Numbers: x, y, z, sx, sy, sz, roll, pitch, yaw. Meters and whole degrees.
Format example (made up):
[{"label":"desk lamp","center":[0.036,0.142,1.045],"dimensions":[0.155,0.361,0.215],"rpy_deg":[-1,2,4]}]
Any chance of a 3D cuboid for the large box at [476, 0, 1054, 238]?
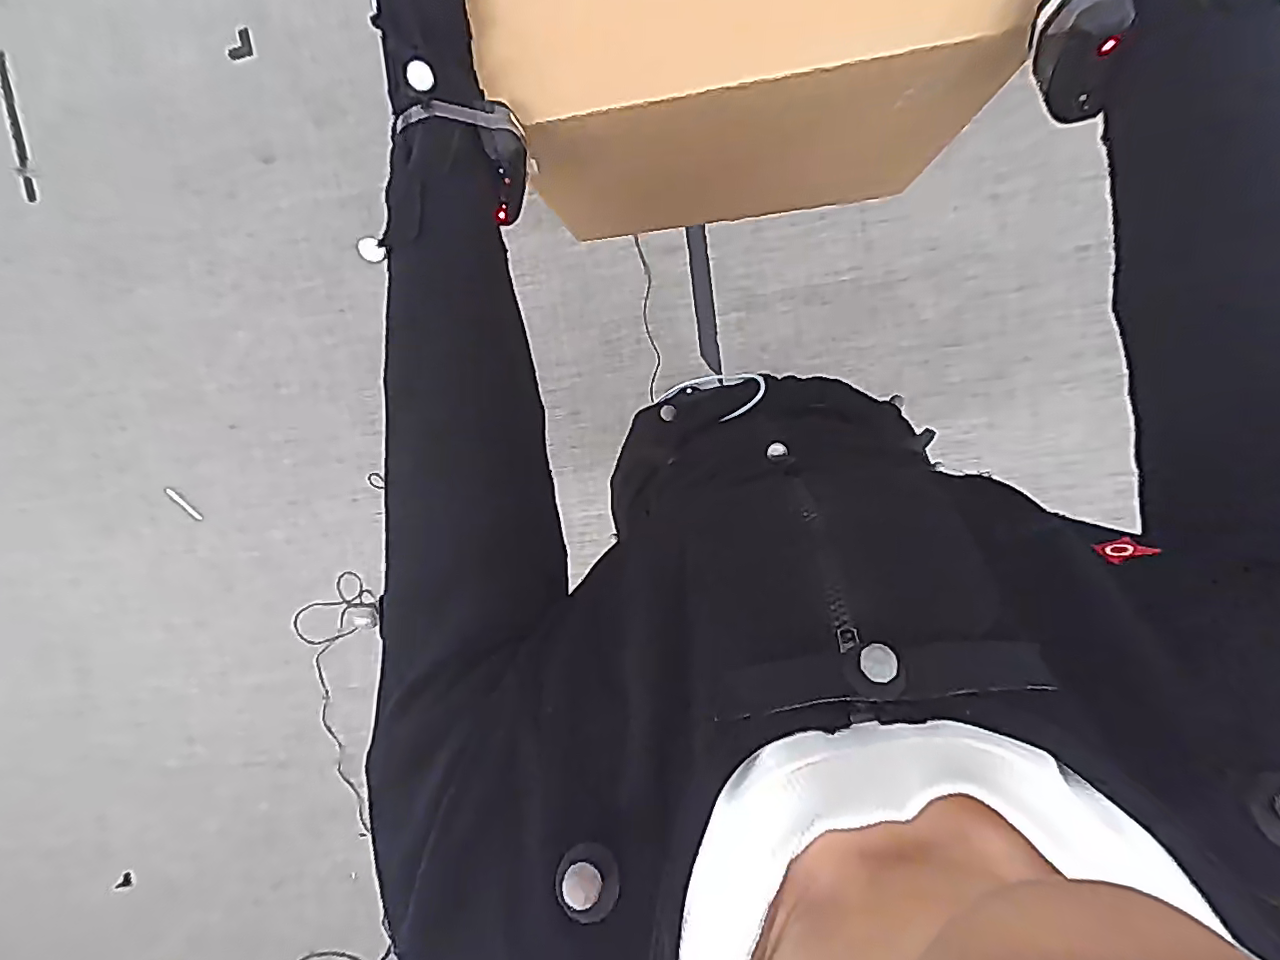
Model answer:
[{"label":"large box","center":[0.080,-0.461,0.513],"dimensions":[0.408,0.320,0.320],"rpy_deg":[-6,99,7]}]
